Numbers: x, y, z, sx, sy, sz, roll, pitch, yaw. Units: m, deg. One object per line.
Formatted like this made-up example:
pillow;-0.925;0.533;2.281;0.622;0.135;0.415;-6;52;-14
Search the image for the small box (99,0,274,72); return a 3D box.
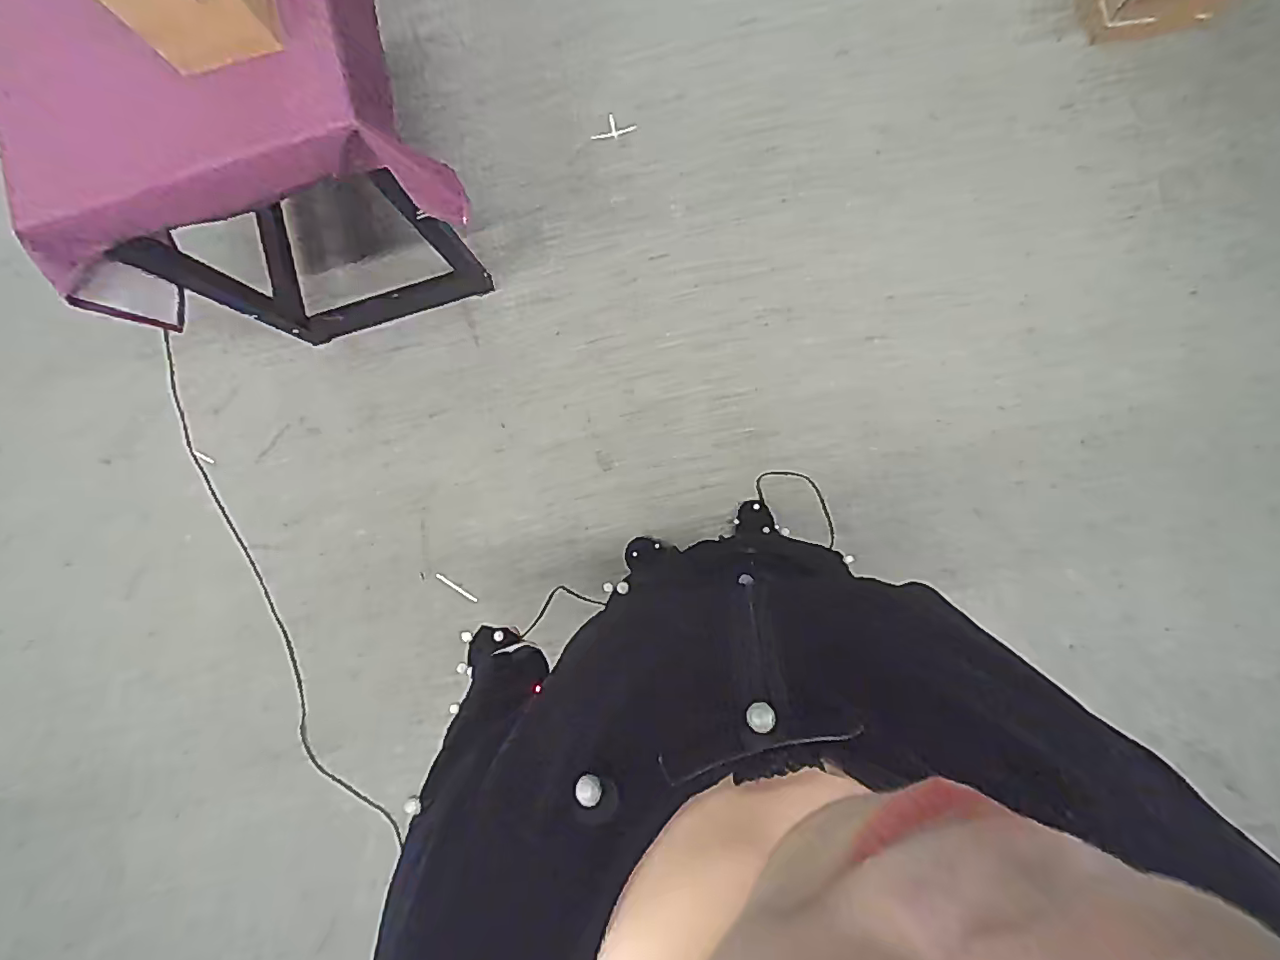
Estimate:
small box;-0.678;-0.758;0.797;0.179;0.176;0.168;-12;86;4
